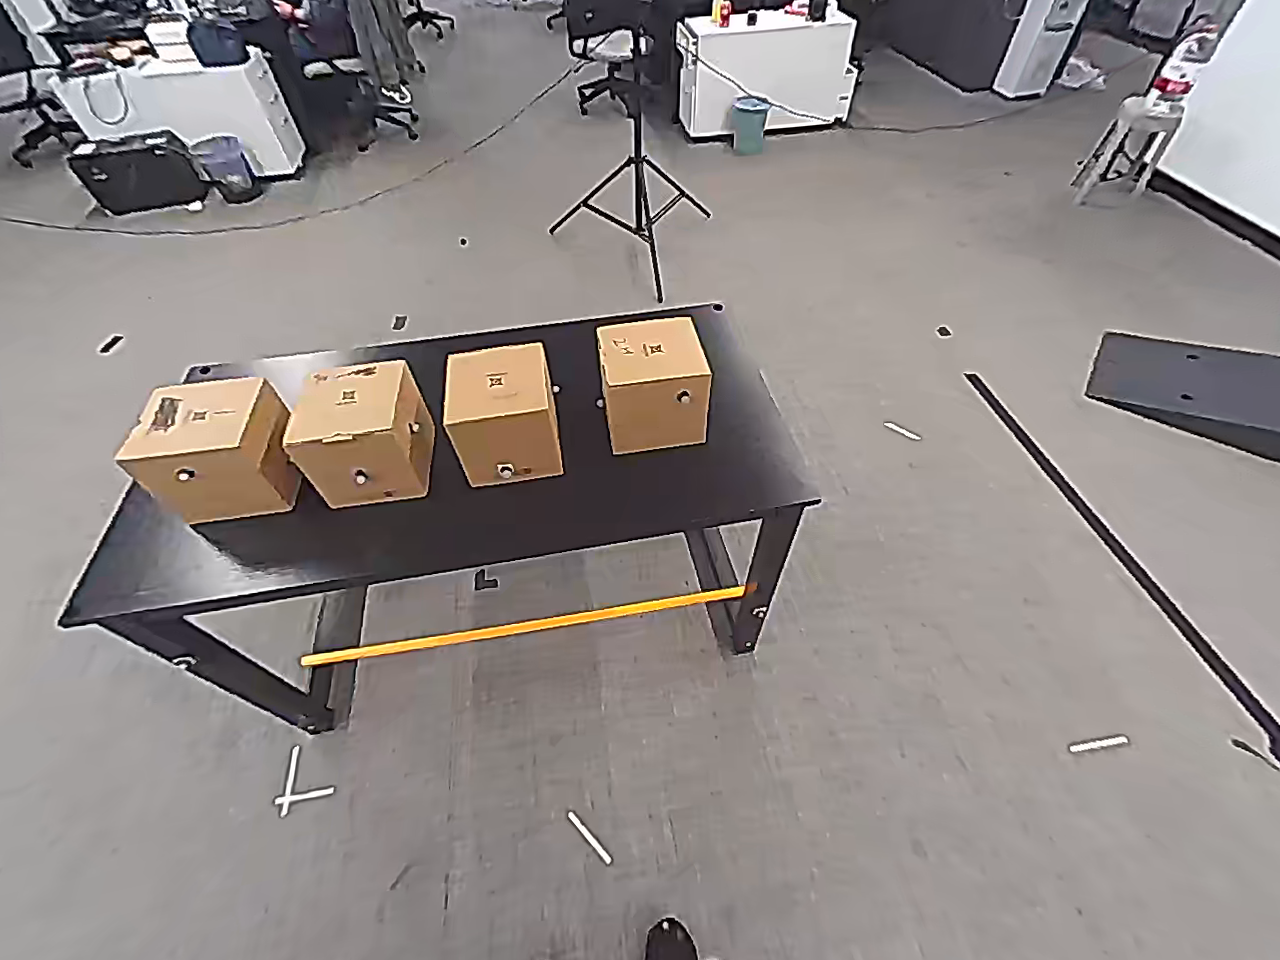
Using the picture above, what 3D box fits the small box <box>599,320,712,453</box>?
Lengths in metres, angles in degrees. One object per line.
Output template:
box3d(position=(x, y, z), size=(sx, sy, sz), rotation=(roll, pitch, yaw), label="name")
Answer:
box3d(position=(0.024, -0.170, 0.997), size=(0.179, 0.176, 0.168), rotation=(-8, 51, -4), label="small box")

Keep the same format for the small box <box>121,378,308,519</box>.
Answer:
box3d(position=(-0.697, -0.049, 0.920), size=(0.179, 0.176, 0.168), rotation=(-8, 52, -6), label="small box")

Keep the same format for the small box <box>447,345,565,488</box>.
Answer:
box3d(position=(-0.232, -0.111, 0.961), size=(0.168, 0.176, 0.179), rotation=(-10, 53, -5), label="small box")

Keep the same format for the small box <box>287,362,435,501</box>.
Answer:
box3d(position=(-0.467, -0.076, 0.938), size=(0.168, 0.176, 0.179), rotation=(-8, 52, -5), label="small box")
